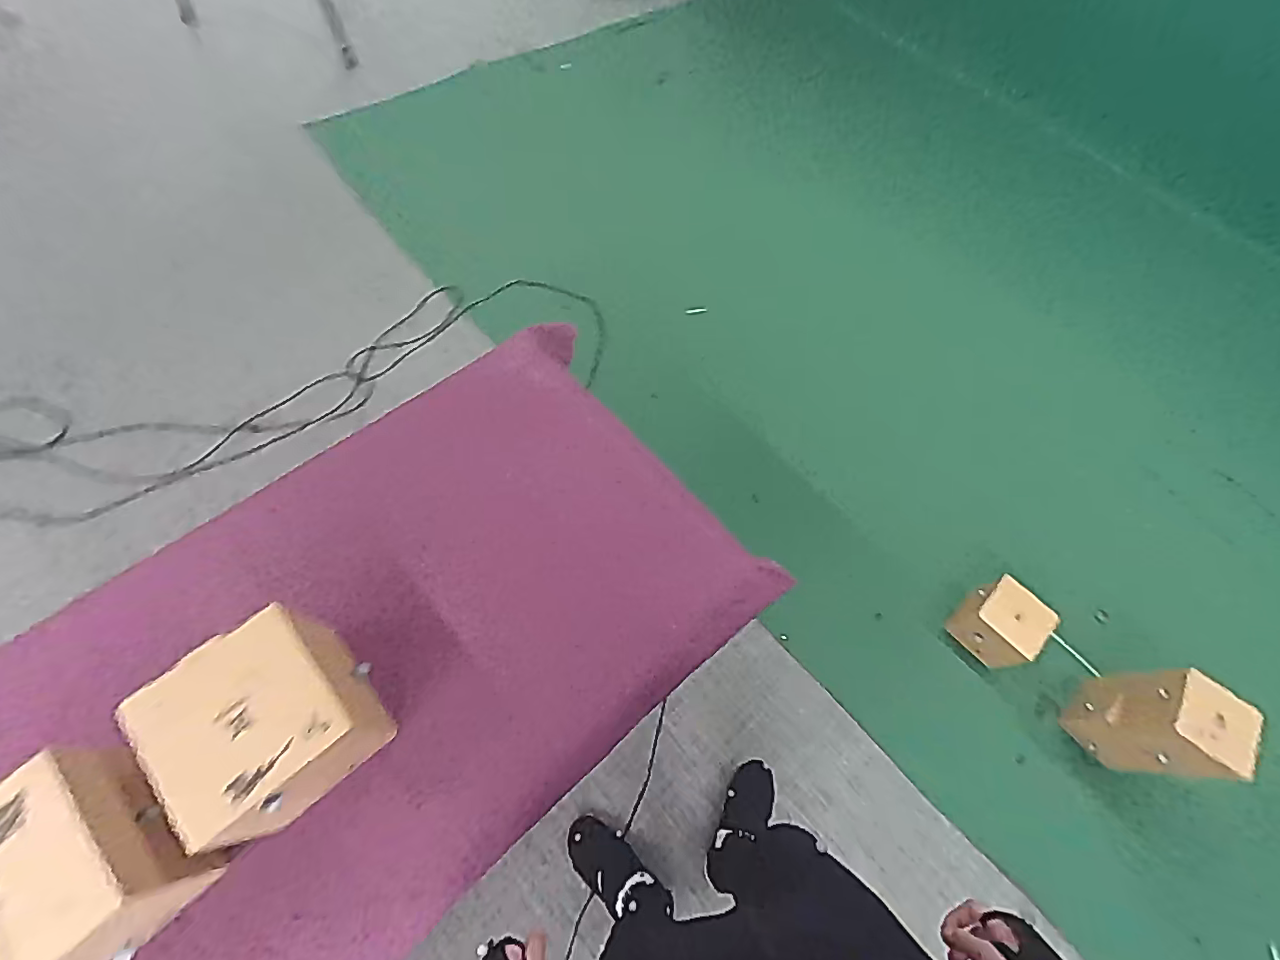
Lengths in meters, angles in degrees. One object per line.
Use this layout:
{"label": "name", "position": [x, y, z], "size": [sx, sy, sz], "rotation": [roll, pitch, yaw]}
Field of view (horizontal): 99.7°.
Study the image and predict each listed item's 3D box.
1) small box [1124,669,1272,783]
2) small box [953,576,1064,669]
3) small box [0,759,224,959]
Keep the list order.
{"label": "small box", "position": [1.306, 0.579, 1.275], "size": [0.168, 0.176, 0.179], "rotation": [36, 66, 13]}
{"label": "small box", "position": [1.026, 0.406, 1.523], "size": [0.179, 0.176, 0.168], "rotation": [-39, 73, -22]}
{"label": "small box", "position": [-0.590, 0.418, 0.554], "size": [0.168, 0.176, 0.179], "rotation": [-40, 74, -21]}
